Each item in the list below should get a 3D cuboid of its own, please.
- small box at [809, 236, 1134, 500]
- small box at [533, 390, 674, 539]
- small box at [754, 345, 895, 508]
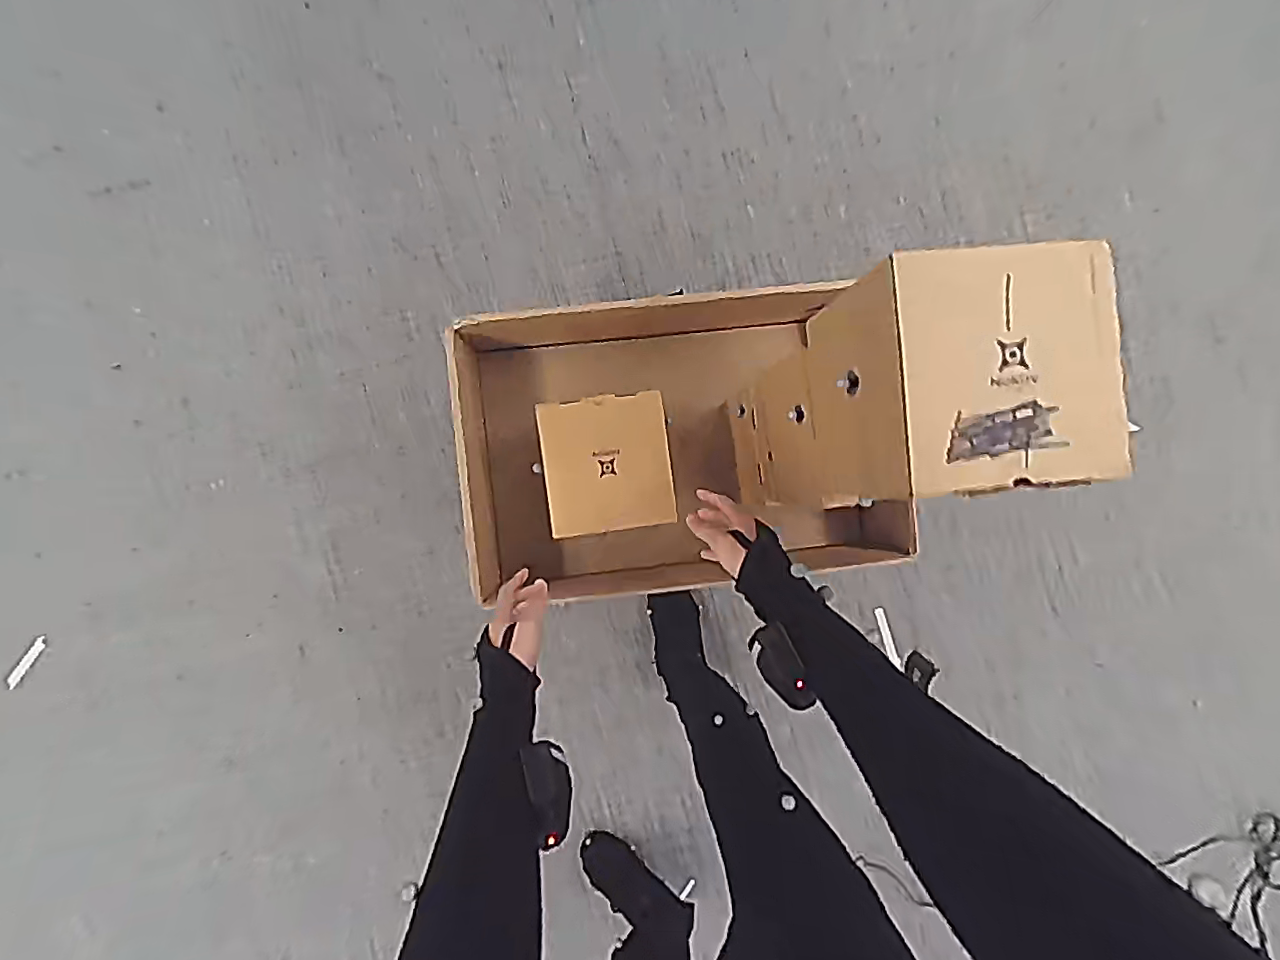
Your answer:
[{"bbox_3d":[0.255,-0.079,0.455,0.168,0.176,0.179,-5,90,-3],"label":"small box"},{"bbox_3d":[-0.049,-0.020,0.771,0.168,0.176,0.179,-8,90,-4],"label":"small box"},{"bbox_3d":[0.247,-0.064,0.620,0.179,0.176,0.168,-9,90,-4],"label":"small box"}]
